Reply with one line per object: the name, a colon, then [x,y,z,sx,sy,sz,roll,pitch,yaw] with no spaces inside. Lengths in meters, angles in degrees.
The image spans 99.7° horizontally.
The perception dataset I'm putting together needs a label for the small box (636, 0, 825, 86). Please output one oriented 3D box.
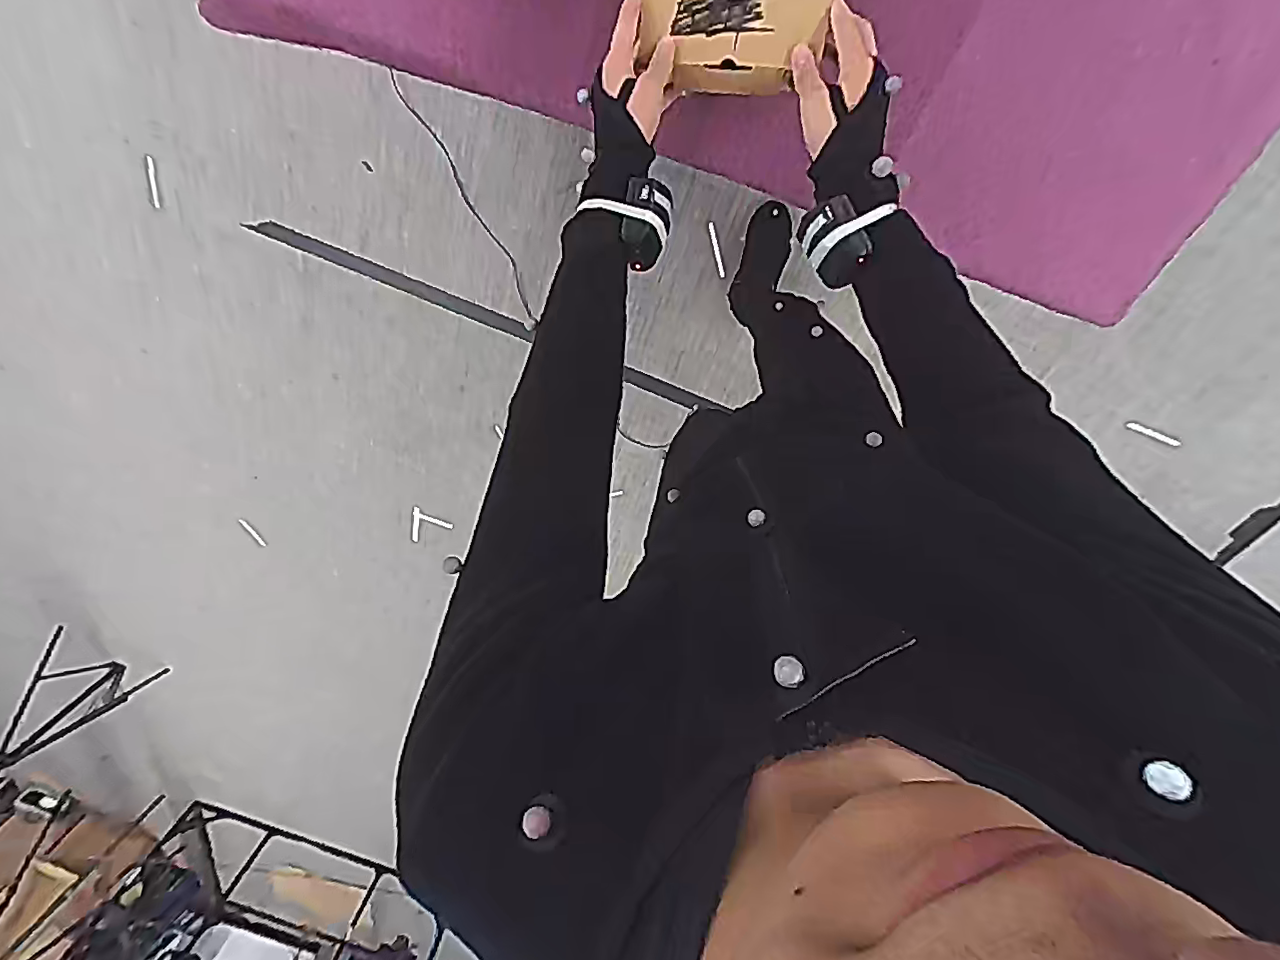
small box: [0.096,-0.492,0.515,0.168,0.176,0.179,8,121,7]
